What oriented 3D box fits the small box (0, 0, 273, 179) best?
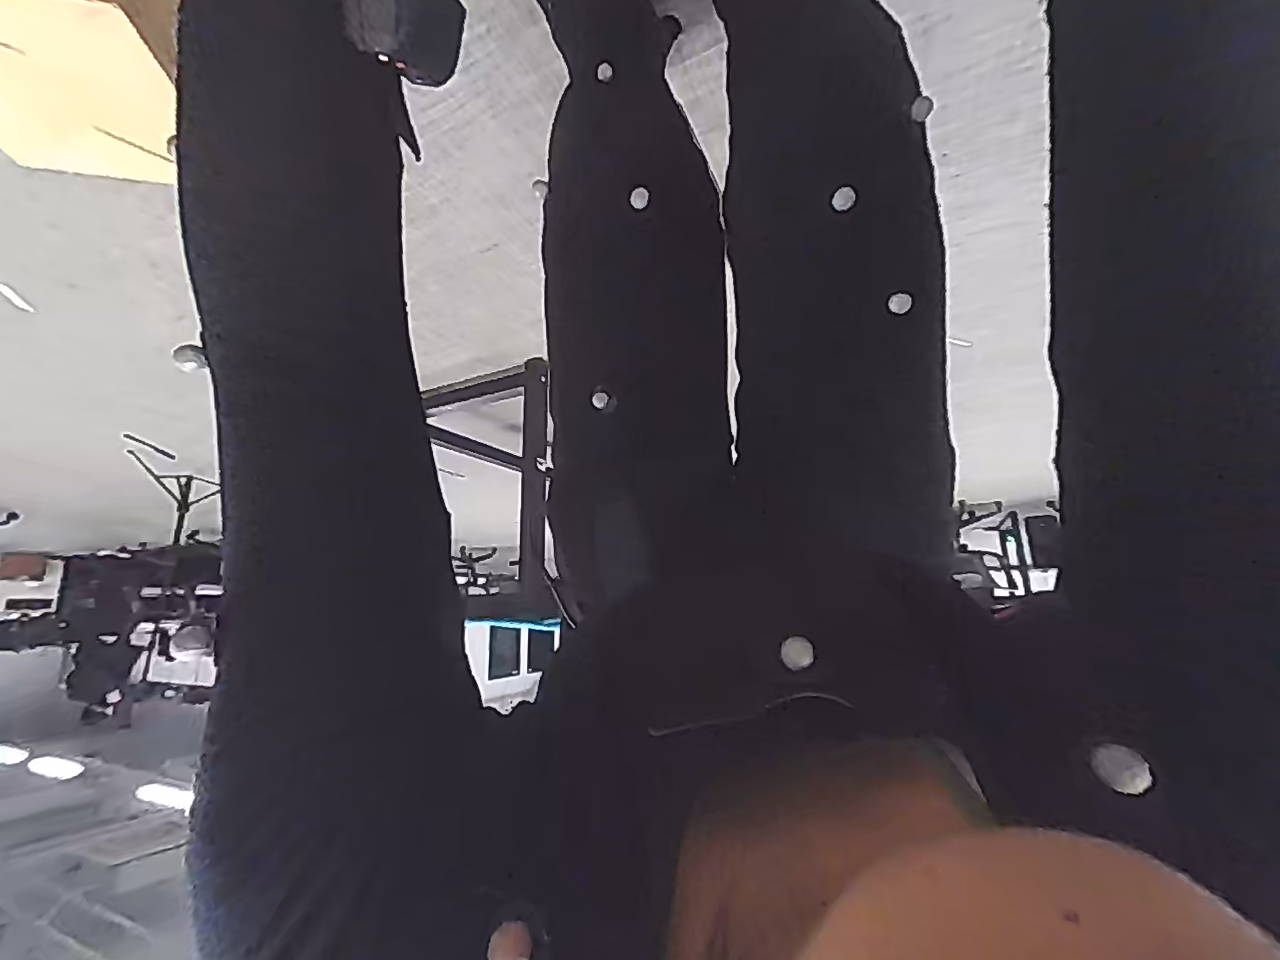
[{"bbox_3d":[-0.433,-0.370,0.427,0.179,0.176,0.168,2,166,-11],"label":"small box"}]
